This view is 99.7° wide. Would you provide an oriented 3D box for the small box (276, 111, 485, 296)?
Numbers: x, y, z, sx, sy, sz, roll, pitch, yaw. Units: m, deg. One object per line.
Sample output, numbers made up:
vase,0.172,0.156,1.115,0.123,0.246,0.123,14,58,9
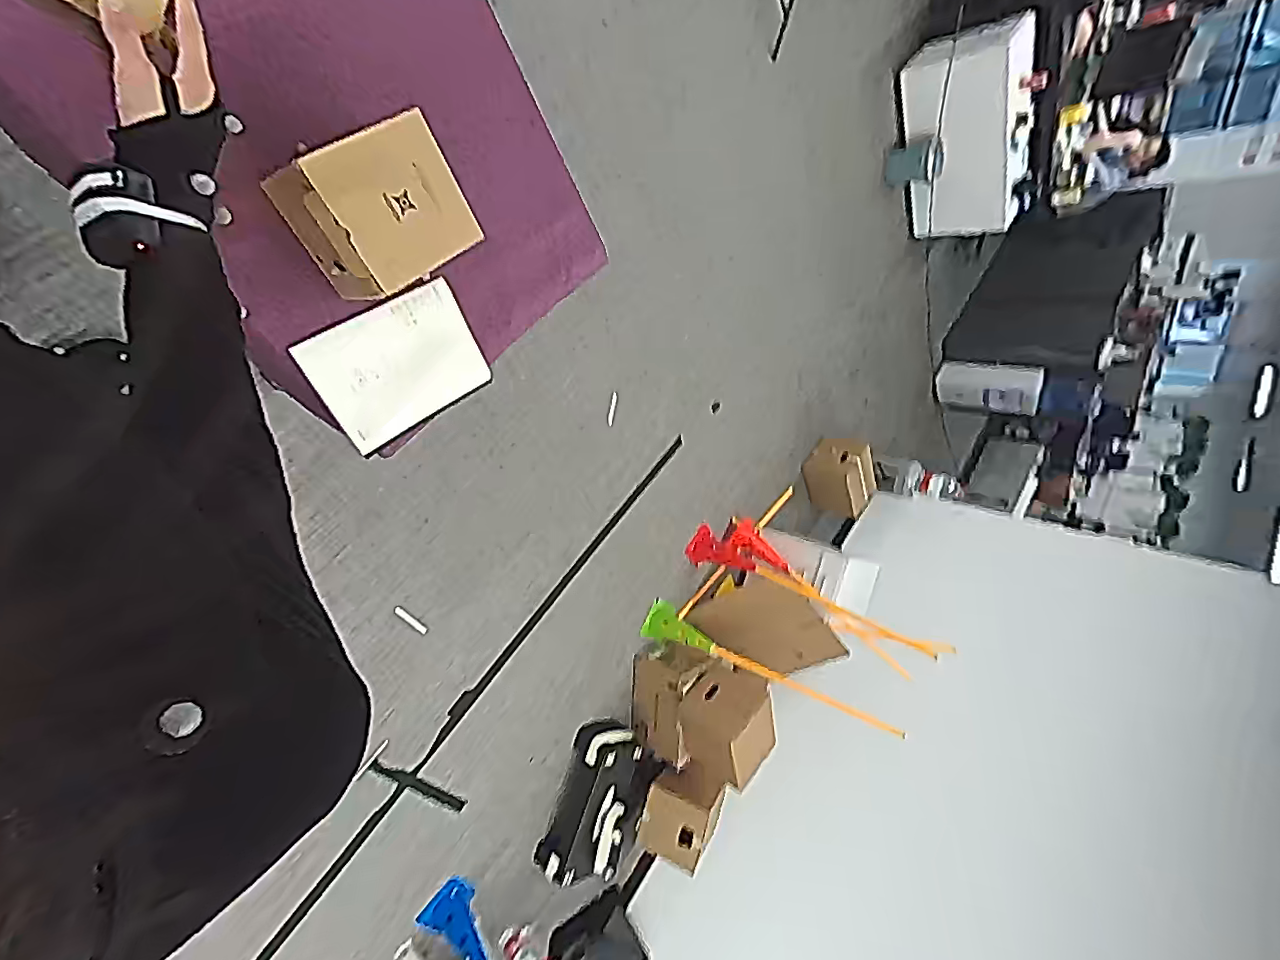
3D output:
small box,-0.355,-0.362,0.733,0.179,0.176,0.168,-46,132,-27
